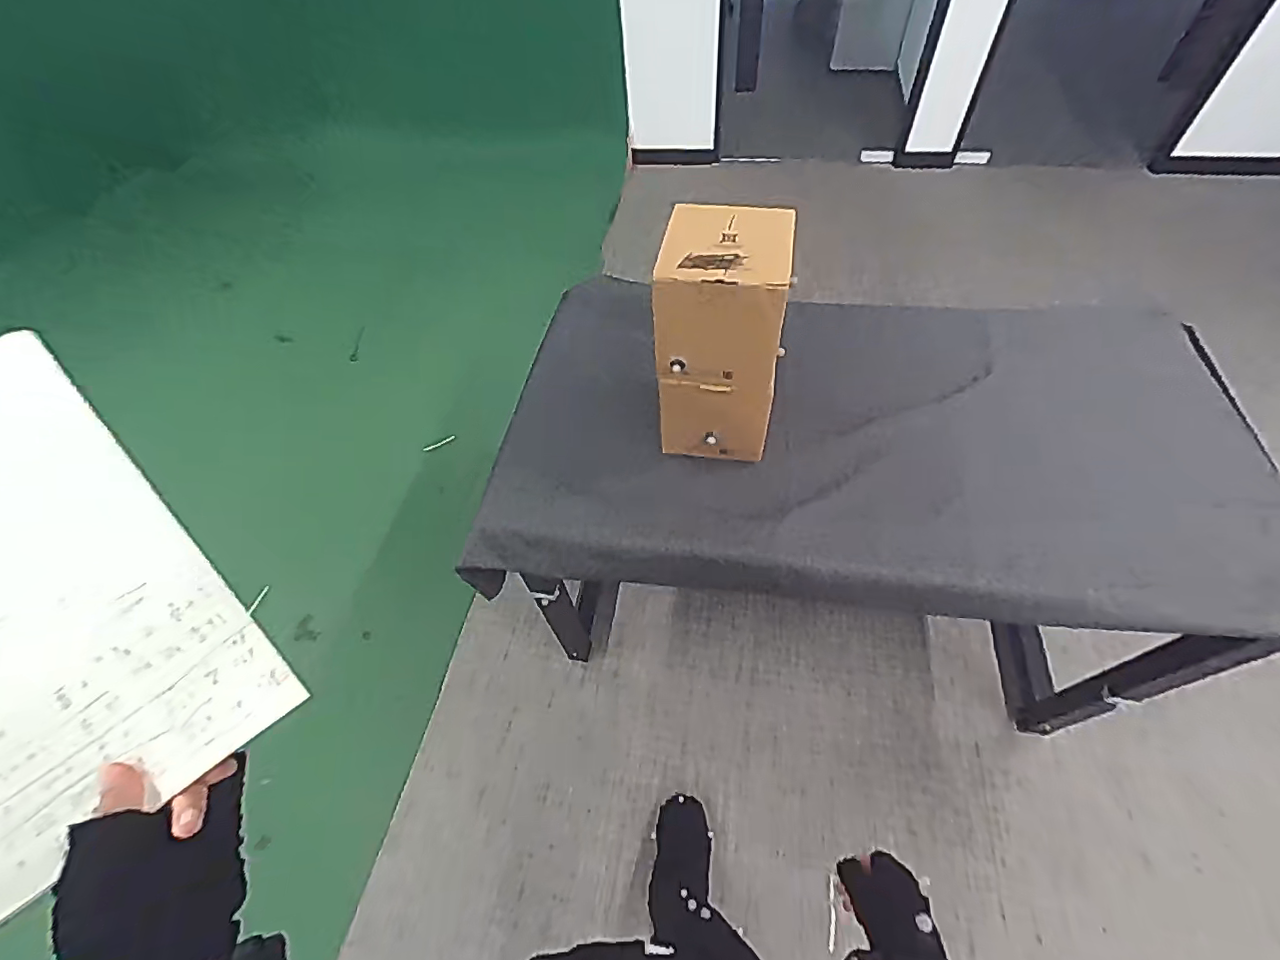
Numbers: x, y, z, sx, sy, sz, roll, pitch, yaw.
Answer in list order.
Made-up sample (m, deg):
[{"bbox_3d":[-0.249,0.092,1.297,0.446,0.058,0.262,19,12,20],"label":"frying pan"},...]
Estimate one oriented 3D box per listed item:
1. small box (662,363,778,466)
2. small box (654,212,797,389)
[{"bbox_3d":[0.131,-0.148,0.885,0.168,0.176,0.179,6,54,9],"label":"small box"},{"bbox_3d":[0.119,-0.247,0.755,0.168,0.176,0.179,8,54,10],"label":"small box"}]
